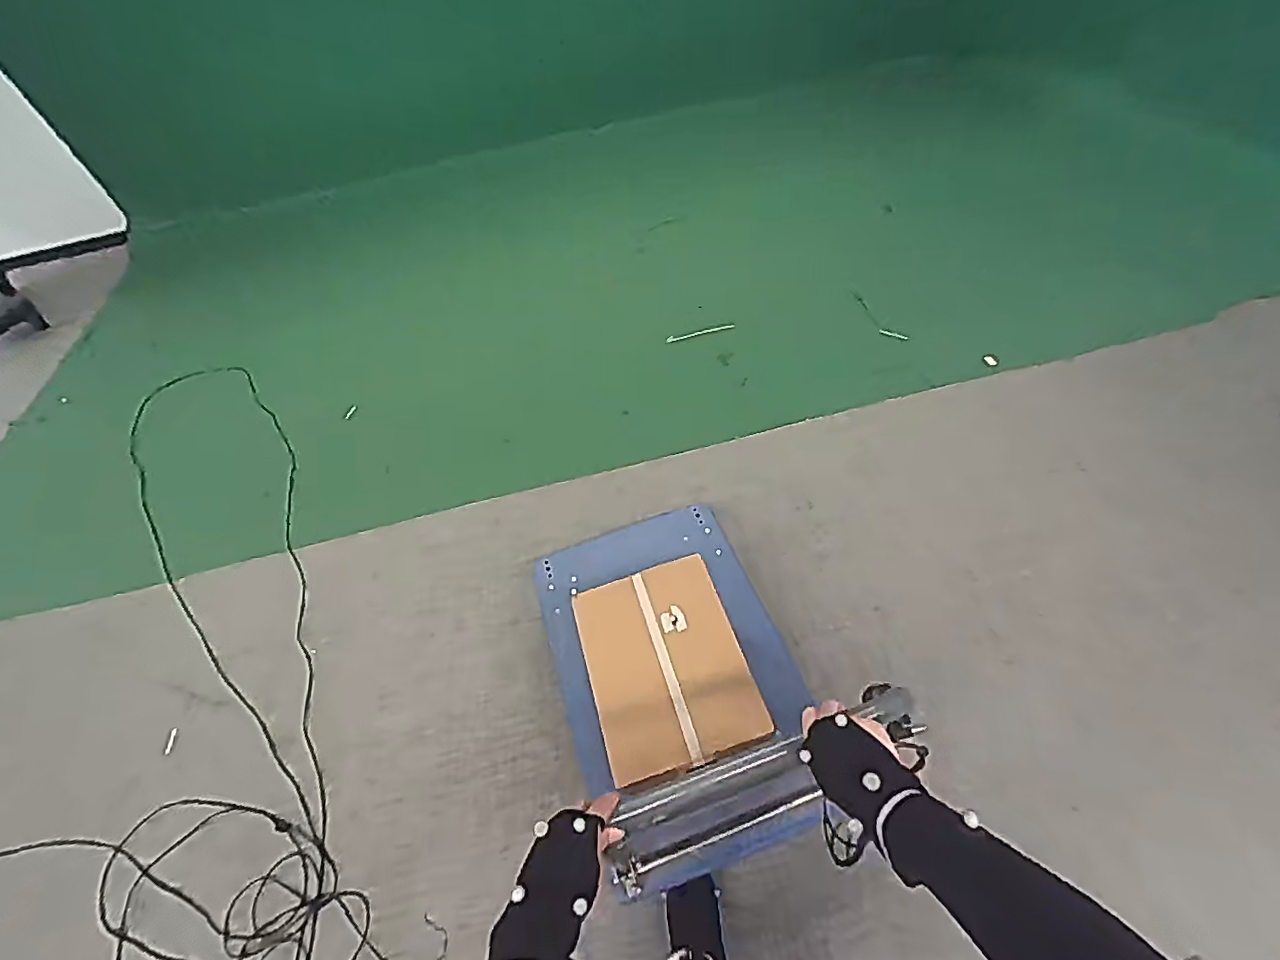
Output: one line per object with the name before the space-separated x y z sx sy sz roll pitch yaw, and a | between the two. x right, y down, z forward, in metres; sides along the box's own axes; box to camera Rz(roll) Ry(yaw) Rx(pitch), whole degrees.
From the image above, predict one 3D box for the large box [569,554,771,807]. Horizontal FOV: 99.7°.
large box | 0.064 0.448 1.217 0.320 0.320 0.408 -17 52 -5
